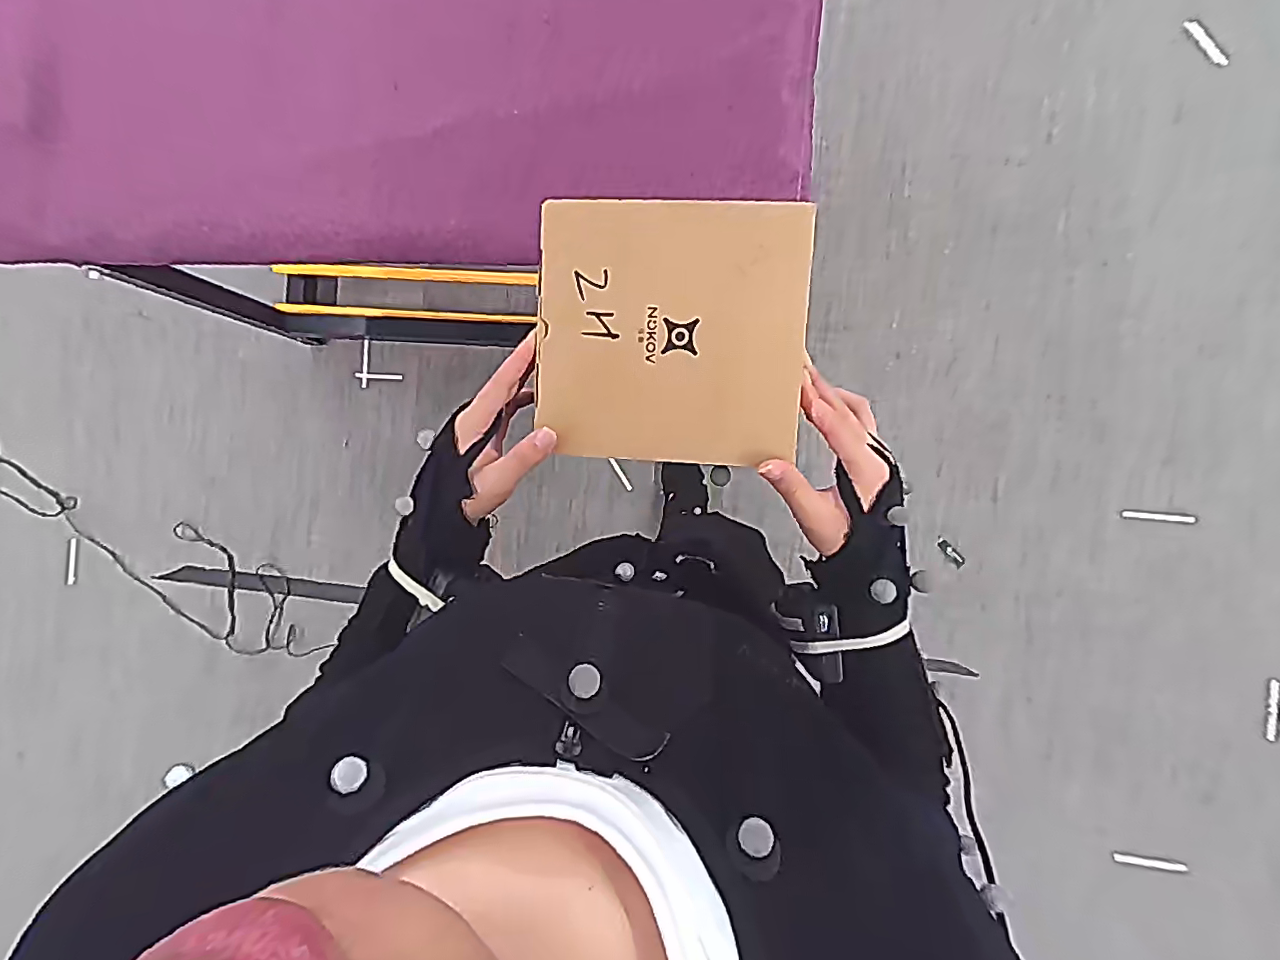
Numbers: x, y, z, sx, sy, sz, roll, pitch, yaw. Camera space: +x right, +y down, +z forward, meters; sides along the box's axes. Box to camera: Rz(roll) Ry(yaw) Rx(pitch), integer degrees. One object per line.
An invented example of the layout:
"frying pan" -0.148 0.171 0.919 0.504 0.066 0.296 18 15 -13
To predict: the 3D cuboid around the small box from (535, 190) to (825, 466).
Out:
"small box" 0.030 -0.104 0.422 0.179 0.176 0.168 4 96 7
